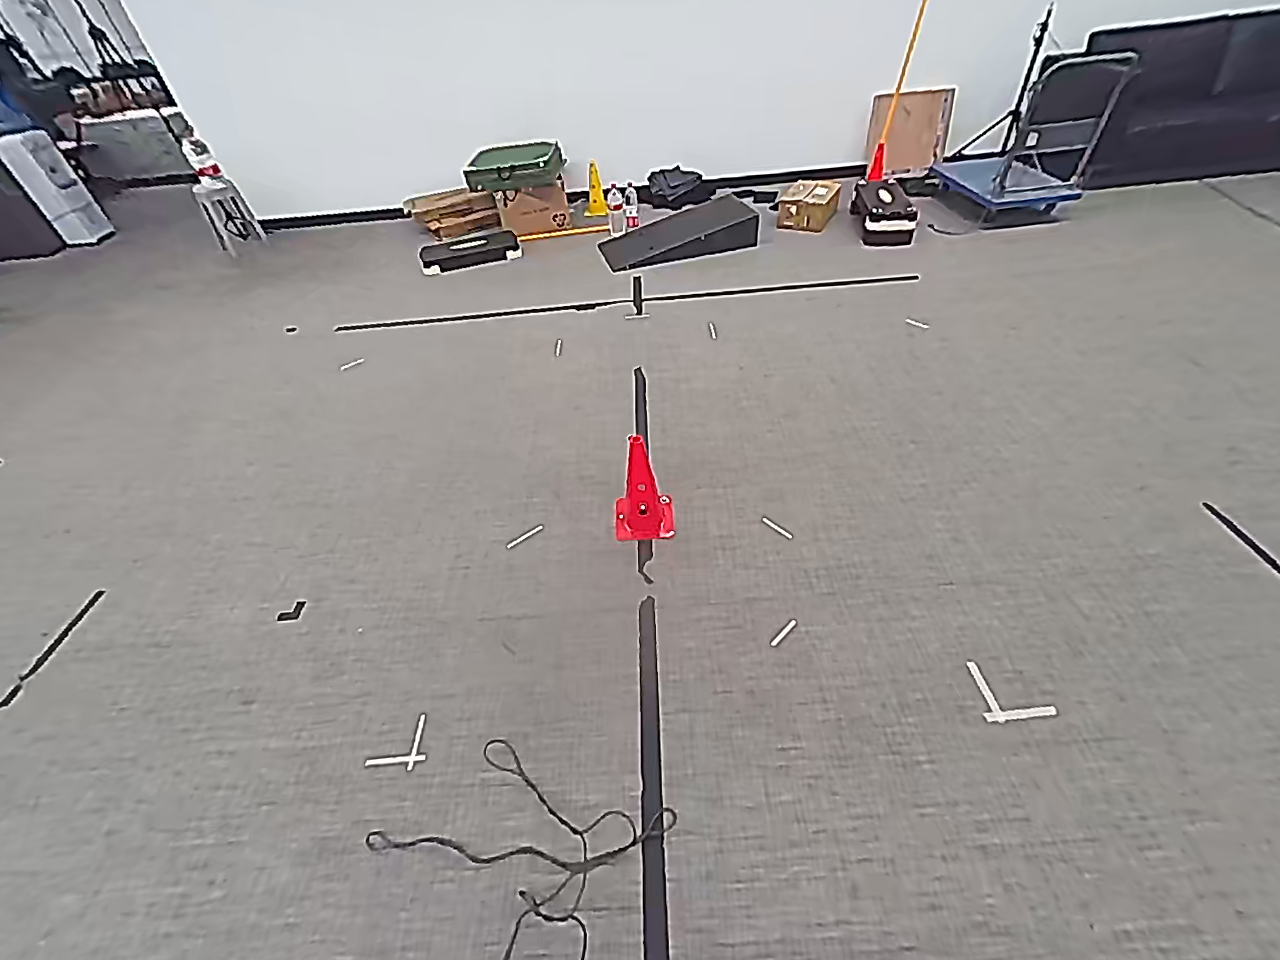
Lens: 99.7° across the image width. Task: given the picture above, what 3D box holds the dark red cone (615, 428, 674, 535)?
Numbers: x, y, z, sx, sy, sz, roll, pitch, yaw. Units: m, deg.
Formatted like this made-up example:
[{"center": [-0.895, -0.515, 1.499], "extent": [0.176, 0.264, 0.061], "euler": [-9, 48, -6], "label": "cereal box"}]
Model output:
[{"center": [-0.002, -0.009, 1.750], "extent": [0.201, 0.394, 0.202], "euler": [-5, 44, 2], "label": "dark red cone"}]
